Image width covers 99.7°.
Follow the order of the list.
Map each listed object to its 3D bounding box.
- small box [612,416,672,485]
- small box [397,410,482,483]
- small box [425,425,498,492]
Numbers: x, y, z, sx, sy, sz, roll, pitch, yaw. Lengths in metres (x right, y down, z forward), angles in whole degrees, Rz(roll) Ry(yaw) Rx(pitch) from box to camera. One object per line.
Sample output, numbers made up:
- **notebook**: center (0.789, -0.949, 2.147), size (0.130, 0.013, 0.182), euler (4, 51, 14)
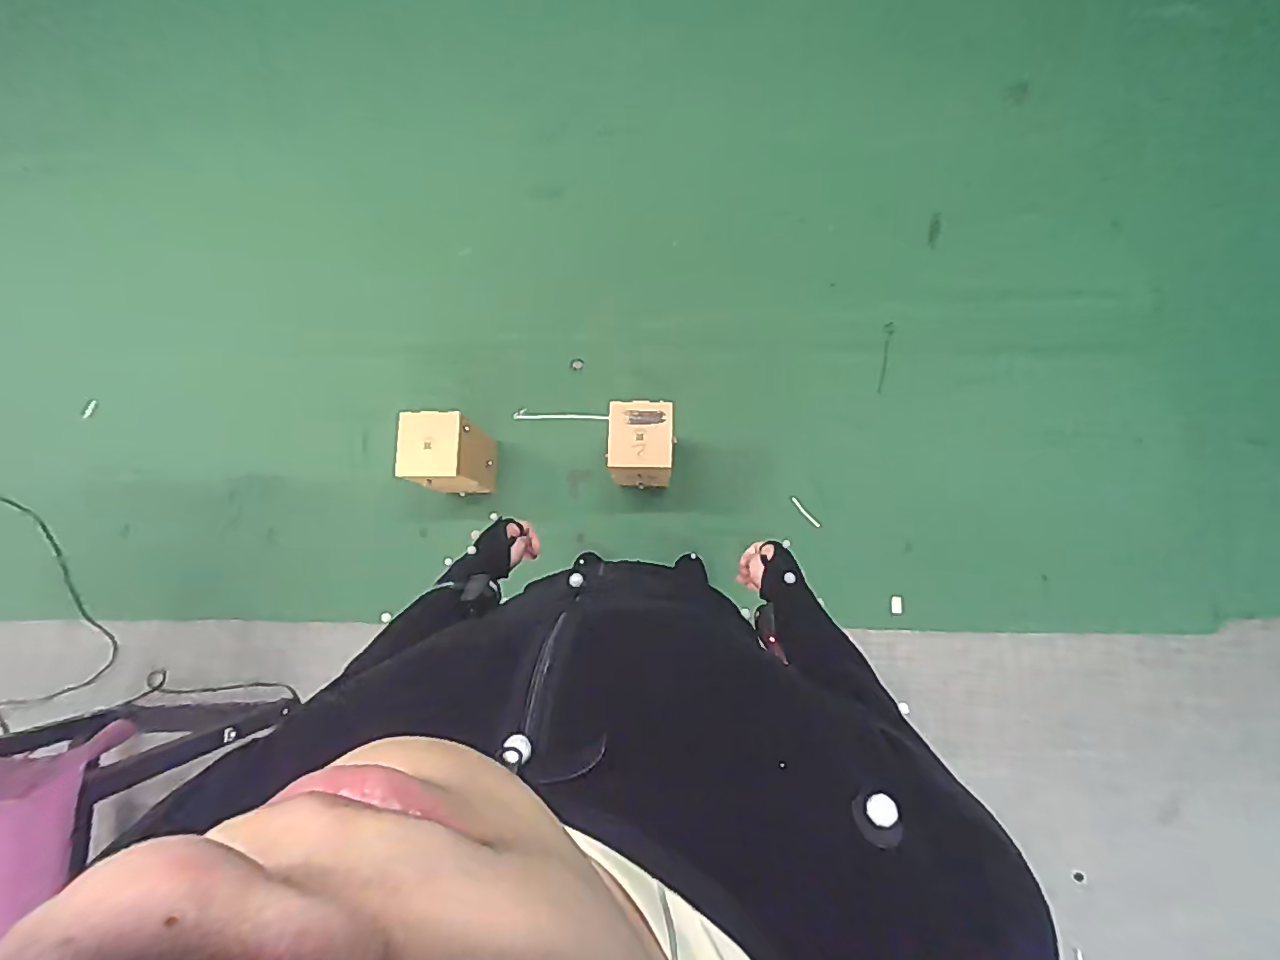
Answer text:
- **small box**: center (0.009, -0.085, 1.619), size (0.168, 0.176, 0.179), euler (2, 82, 3)
- **small box**: center (-0.544, -0.086, 1.484), size (0.168, 0.176, 0.179), euler (-1, 81, 4)
- **small box**: center (-0.538, -0.062, 1.644), size (0.168, 0.176, 0.179), euler (0, 82, 3)
